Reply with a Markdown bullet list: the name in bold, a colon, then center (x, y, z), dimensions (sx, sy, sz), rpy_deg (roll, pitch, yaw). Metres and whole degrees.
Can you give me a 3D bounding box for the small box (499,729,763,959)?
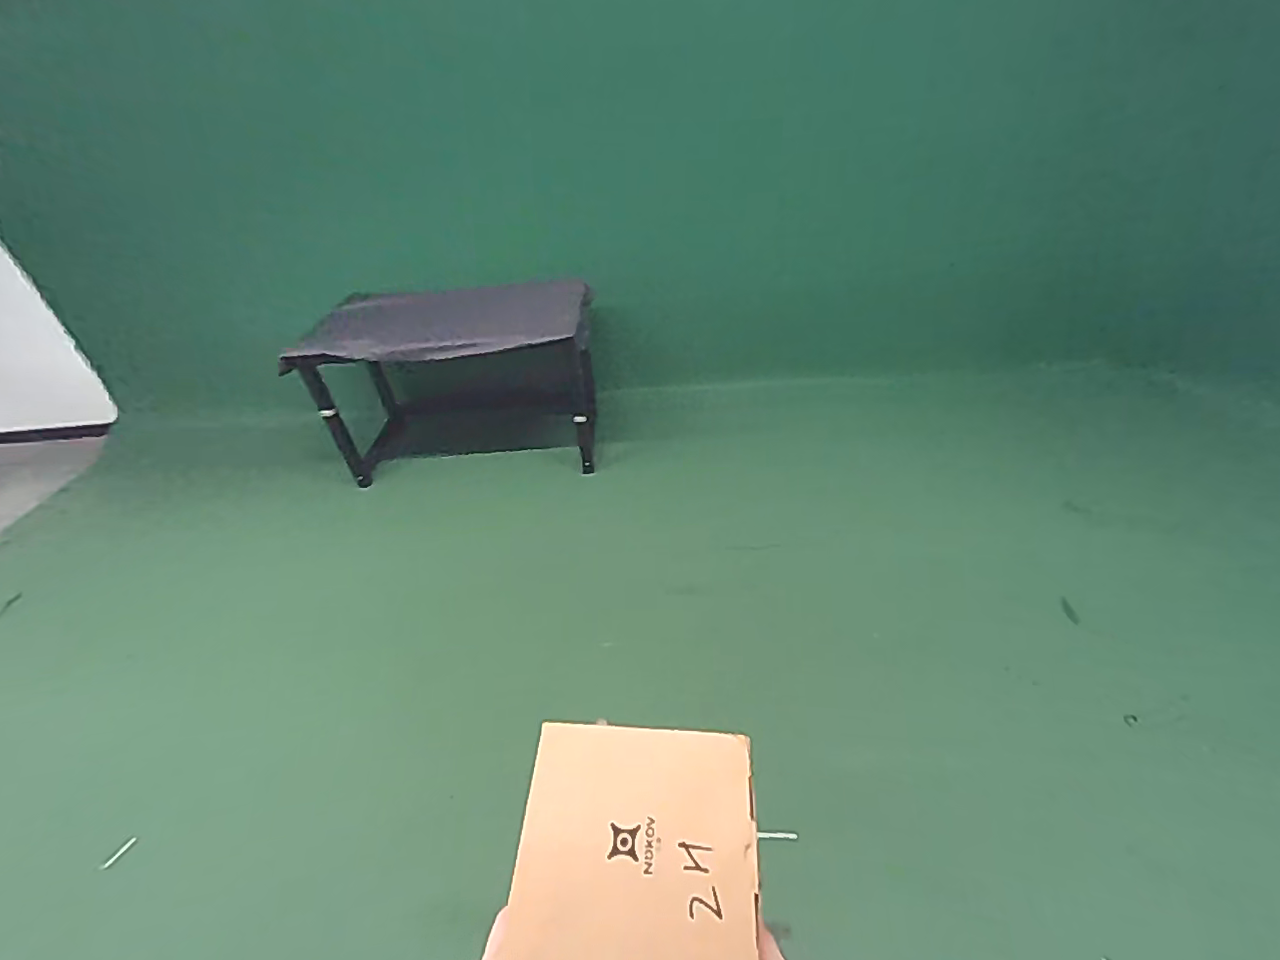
- **small box**: center (0.004, 0.325, 0.451), dimensions (0.179, 0.176, 0.168), rpy_deg (2, 49, 6)
